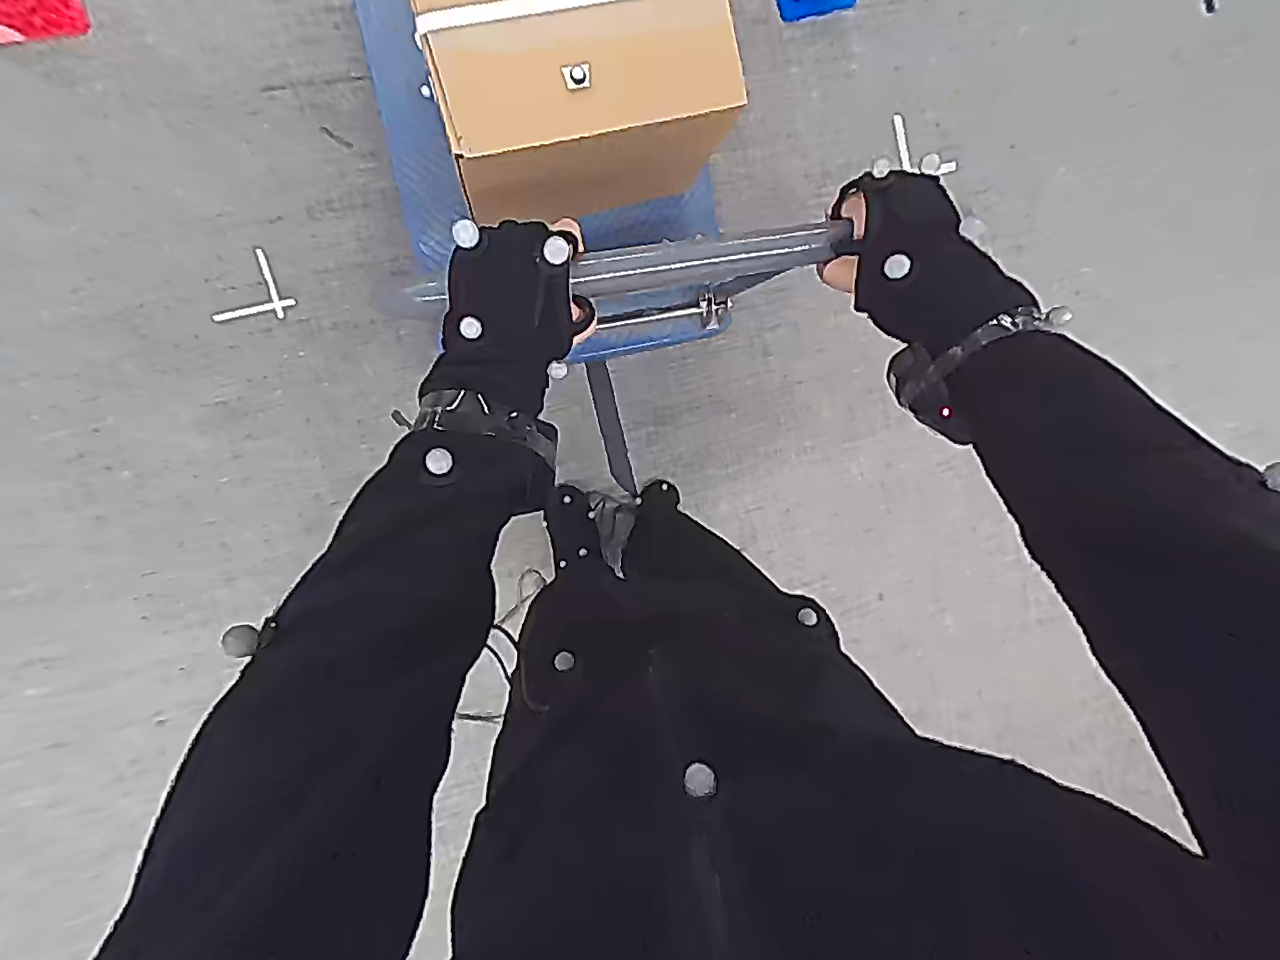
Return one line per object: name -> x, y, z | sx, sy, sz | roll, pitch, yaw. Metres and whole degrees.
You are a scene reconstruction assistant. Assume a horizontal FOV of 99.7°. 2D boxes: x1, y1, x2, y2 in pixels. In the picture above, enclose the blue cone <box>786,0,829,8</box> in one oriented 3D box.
blue cone -> 0.419, -1.151, 1.049 | 0.193, 0.380, 0.192 | -19, 99, -9
